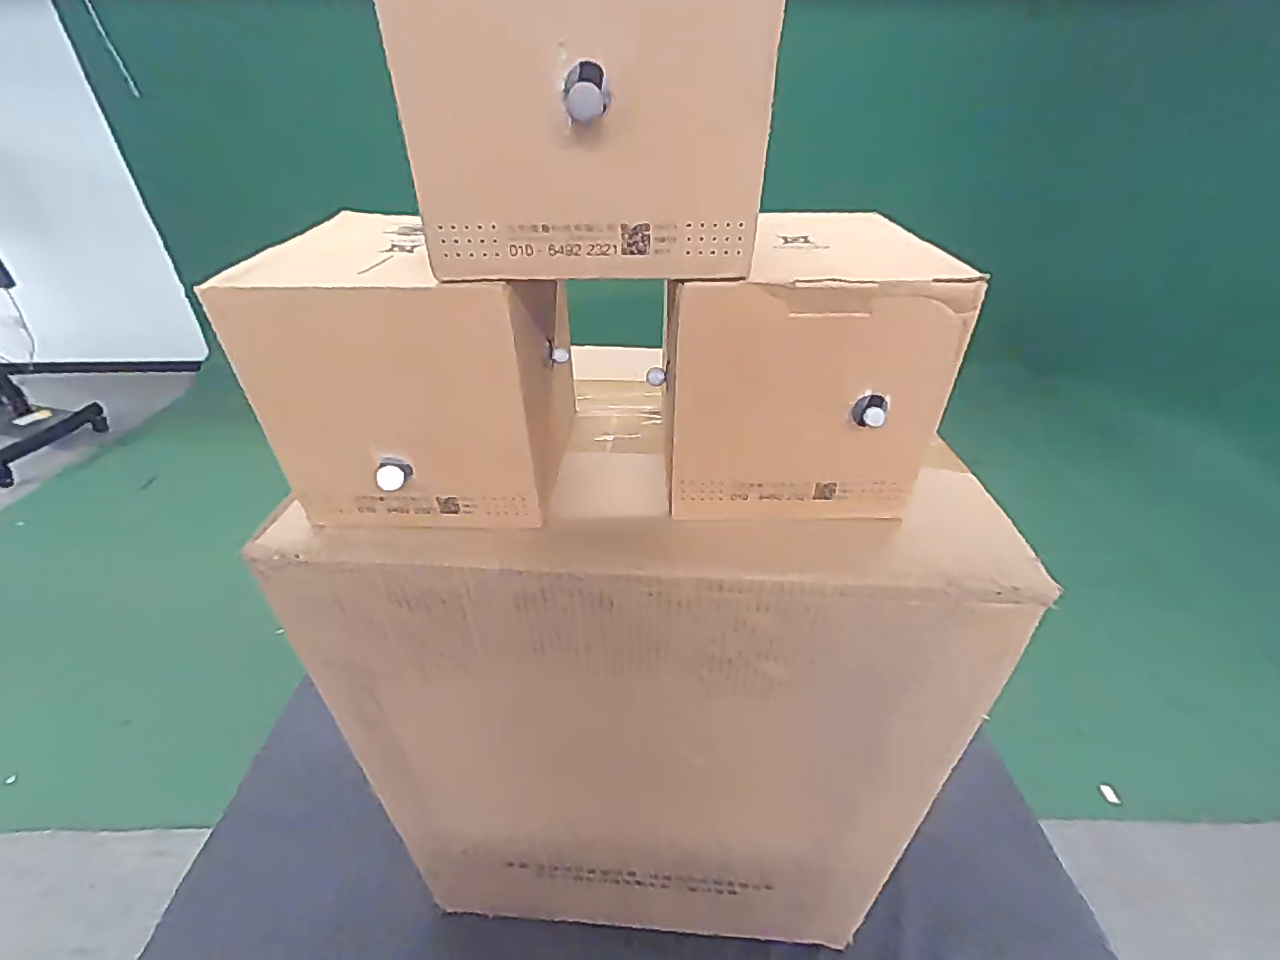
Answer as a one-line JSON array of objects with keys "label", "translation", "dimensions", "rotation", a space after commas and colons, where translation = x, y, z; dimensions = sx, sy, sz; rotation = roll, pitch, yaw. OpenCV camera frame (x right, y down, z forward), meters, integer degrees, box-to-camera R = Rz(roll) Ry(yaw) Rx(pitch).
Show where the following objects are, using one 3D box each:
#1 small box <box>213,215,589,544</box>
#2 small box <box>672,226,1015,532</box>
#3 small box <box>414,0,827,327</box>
[{"label": "small box", "translation": [-0.131, -0.078, 0.383], "dimensions": [0.168, 0.176, 0.179], "rotation": [2, 37, 4]}, {"label": "small box", "translation": [0.114, -0.076, 0.394], "dimensions": [0.168, 0.176, 0.179], "rotation": [1, 36, -3]}, {"label": "small box", "translation": [-0.009, -0.193, 0.302], "dimensions": [0.168, 0.176, 0.179], "rotation": [-3, 37, -5]}]
